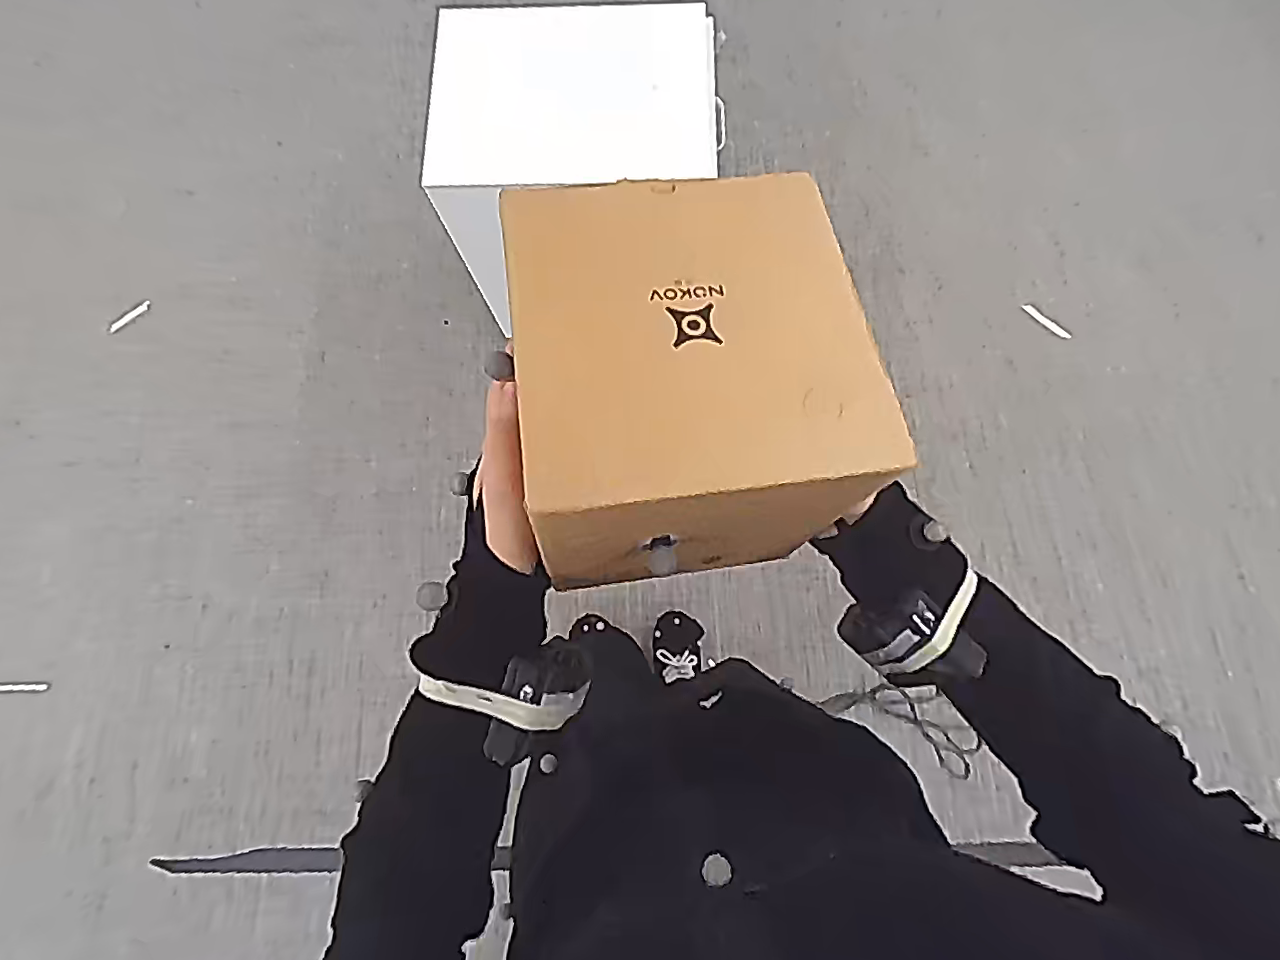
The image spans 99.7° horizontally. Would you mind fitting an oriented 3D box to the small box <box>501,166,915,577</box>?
[{"bbox_3d":[0.018,-0.047,0.320,0.168,0.176,0.179,-7,68,-8],"label":"small box"}]
